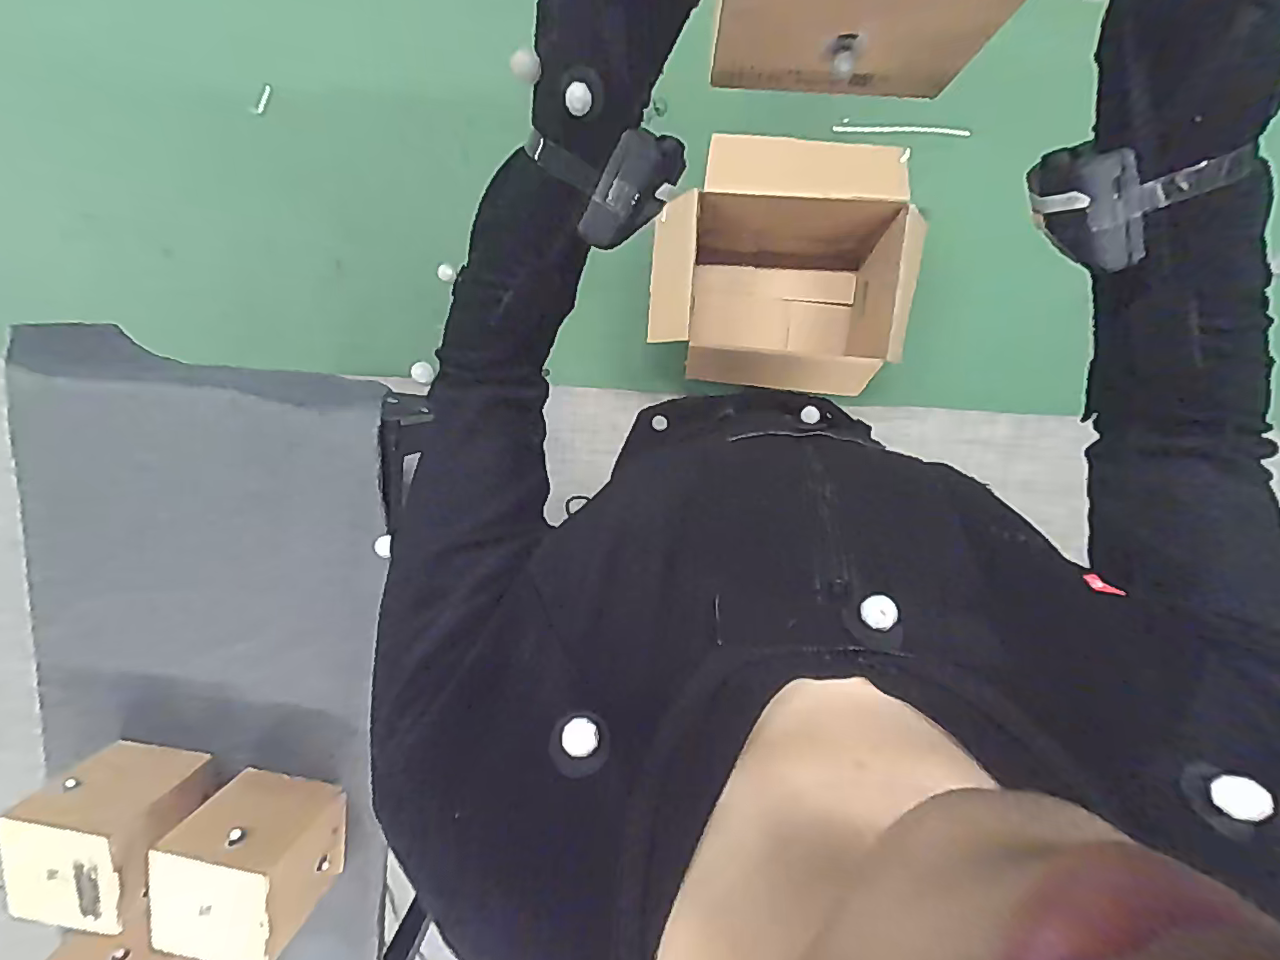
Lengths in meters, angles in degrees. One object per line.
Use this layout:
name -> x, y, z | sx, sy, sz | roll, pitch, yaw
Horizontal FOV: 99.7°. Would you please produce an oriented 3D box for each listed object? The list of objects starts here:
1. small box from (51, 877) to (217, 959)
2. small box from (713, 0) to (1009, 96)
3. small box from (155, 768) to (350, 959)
small box -> -0.806, 0.792, 0.877 | 0.179, 0.176, 0.168 | 8, 100, 5
small box -> 0.134, -0.359, 0.301 | 0.168, 0.176, 0.179 | 4, 98, 2
small box -> -0.578, 0.571, 0.819 | 0.179, 0.176, 0.168 | 8, 100, 5
